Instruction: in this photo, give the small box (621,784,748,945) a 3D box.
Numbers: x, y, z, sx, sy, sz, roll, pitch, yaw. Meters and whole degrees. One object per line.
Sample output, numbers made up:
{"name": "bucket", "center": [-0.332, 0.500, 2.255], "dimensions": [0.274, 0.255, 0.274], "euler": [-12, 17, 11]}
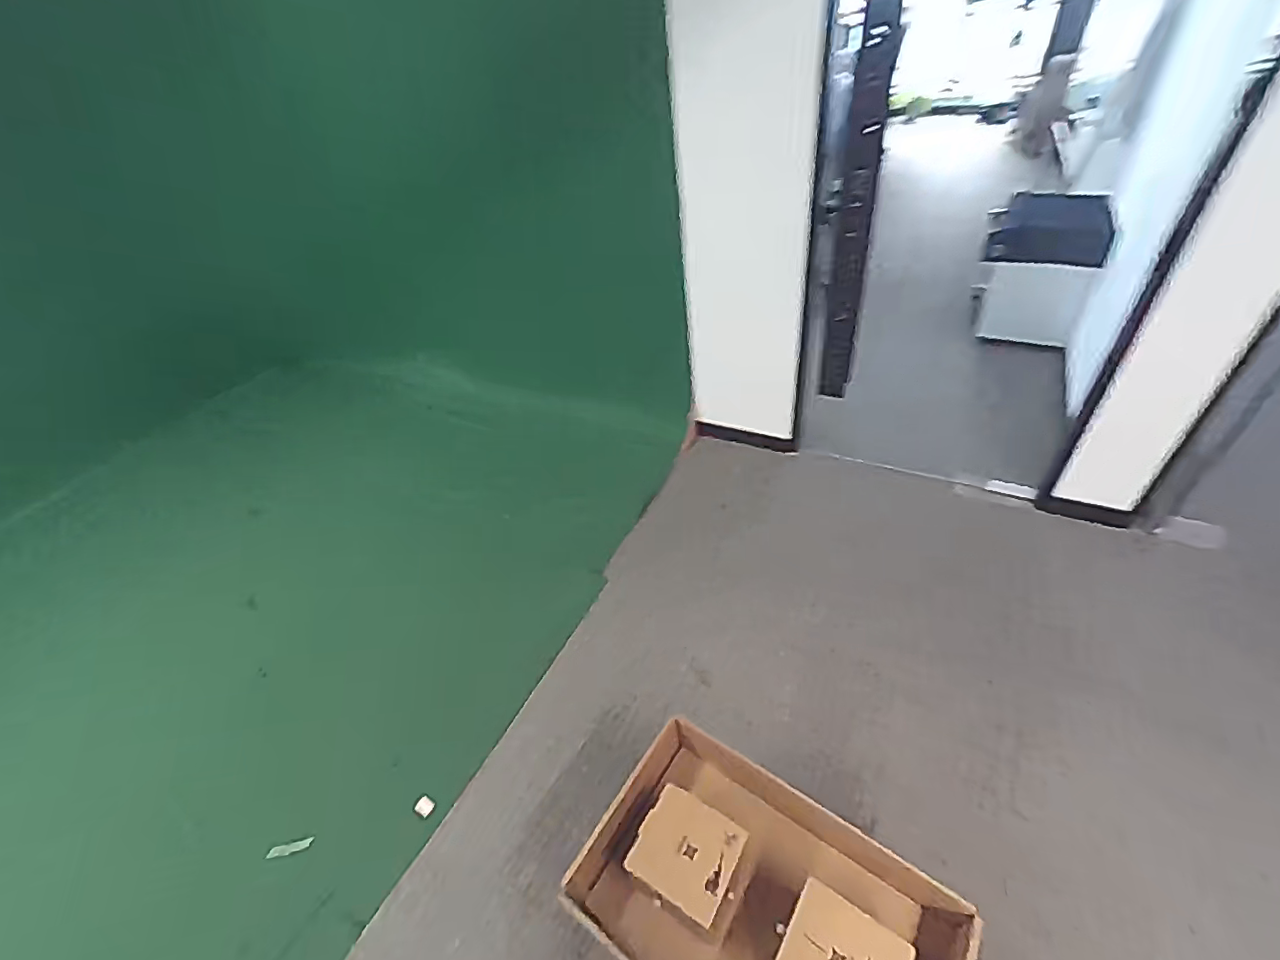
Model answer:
{"name": "small box", "center": [0.089, 0.722, 1.015], "dimensions": [0.179, 0.176, 0.168], "euler": [19, 49, 29]}
